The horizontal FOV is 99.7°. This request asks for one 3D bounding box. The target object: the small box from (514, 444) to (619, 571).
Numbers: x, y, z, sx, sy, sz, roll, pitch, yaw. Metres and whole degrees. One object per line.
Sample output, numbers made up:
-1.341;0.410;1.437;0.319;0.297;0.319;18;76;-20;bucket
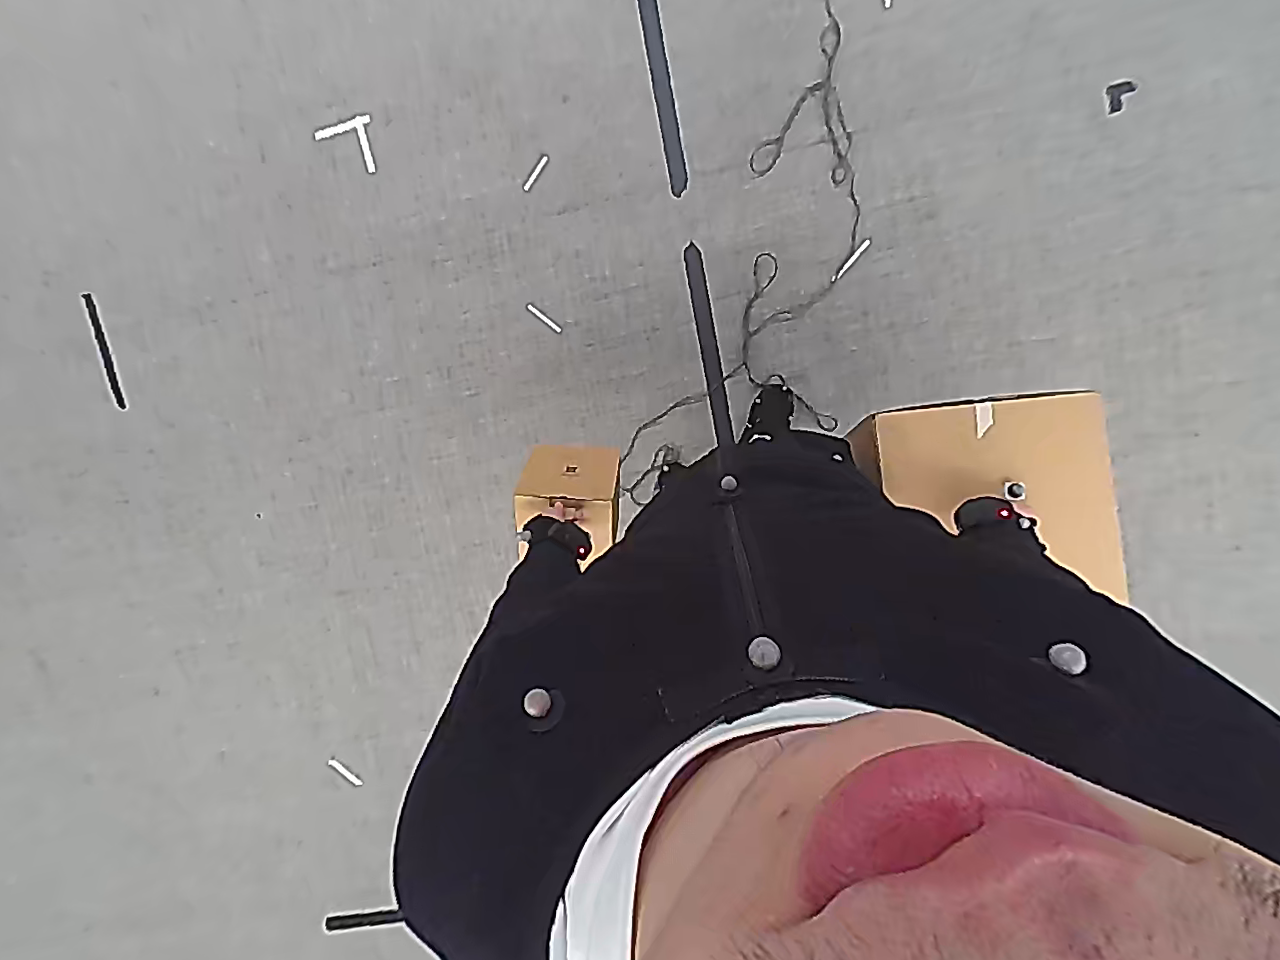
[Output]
-0.129;0.051;1.008;0.168;0.179;0.176;4;122;0;small box
